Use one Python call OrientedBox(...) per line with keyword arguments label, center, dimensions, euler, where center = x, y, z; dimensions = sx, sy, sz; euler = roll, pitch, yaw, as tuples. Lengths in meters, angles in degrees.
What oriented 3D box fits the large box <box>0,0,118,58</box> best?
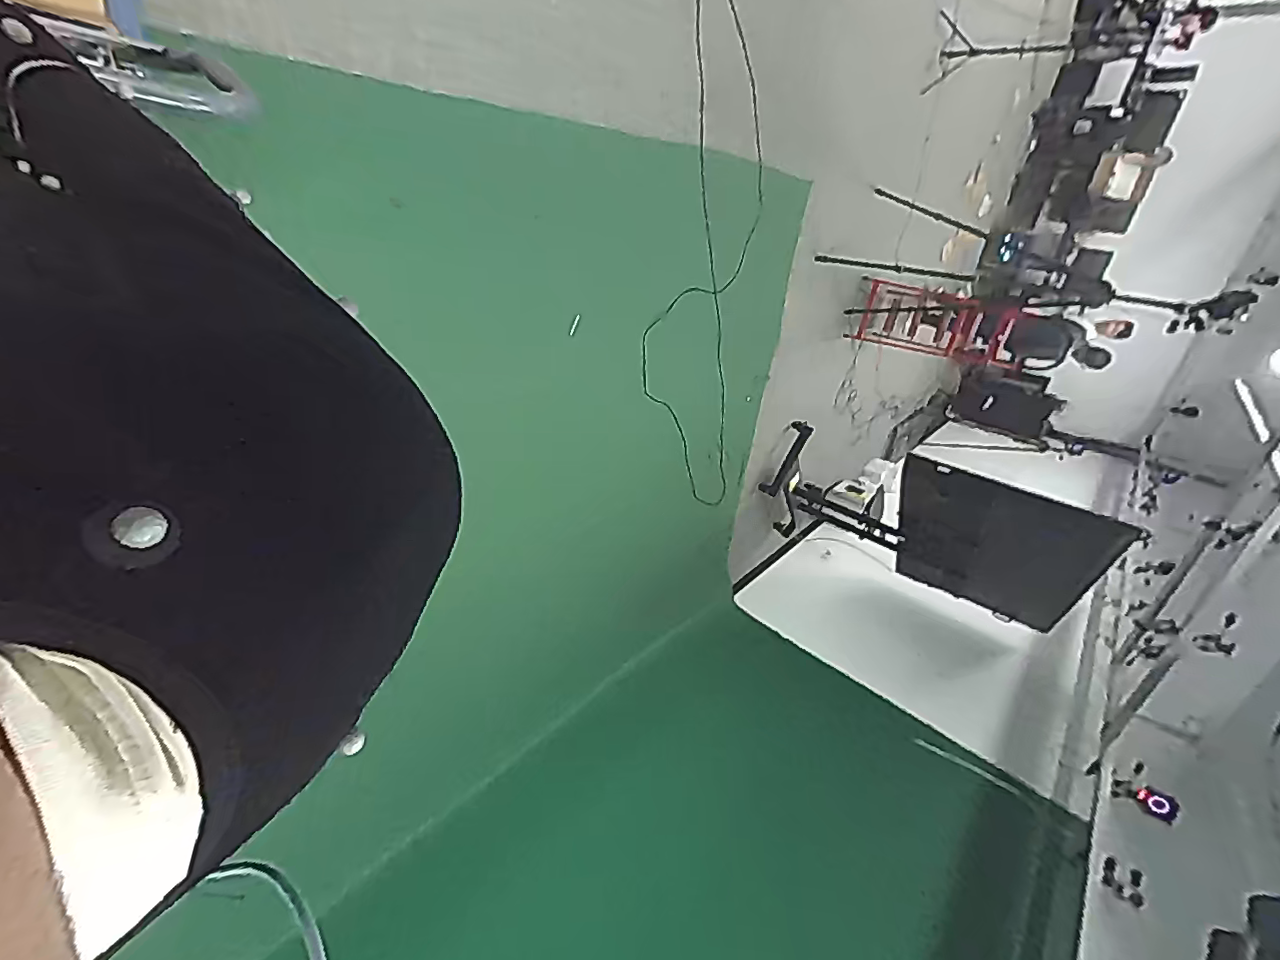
OrientedBox(label="large box", center=(-0.893, -0.786, 0.626), dimensions=(0.320, 0.320, 0.408), euler=(-20, 126, -46))
